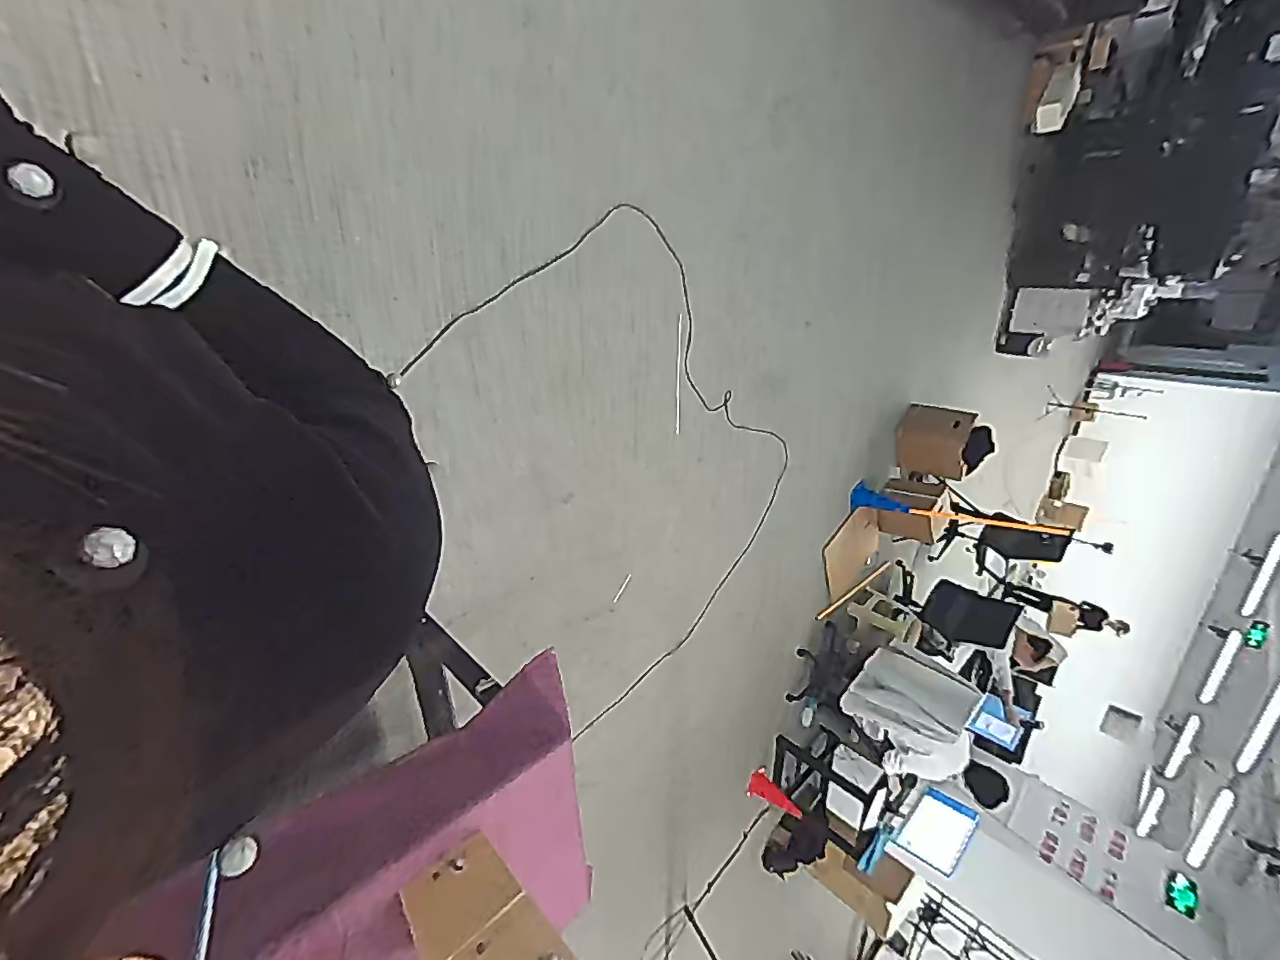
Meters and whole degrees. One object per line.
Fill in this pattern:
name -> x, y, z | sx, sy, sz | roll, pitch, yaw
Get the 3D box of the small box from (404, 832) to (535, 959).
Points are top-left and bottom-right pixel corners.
small box -> -0.316, 0.815, 1.009 | 0.168, 0.176, 0.179 | -21, 119, -40
